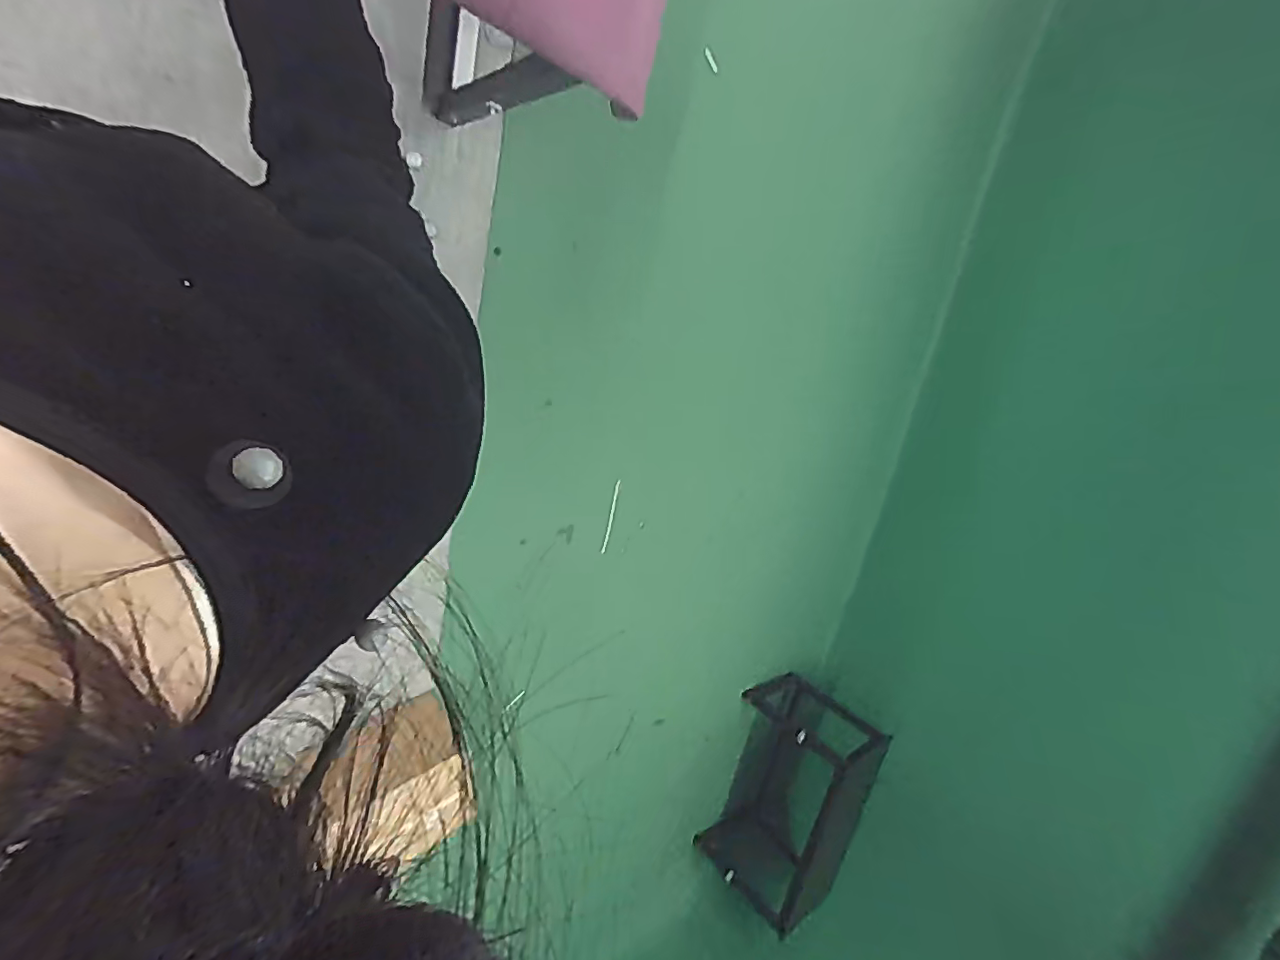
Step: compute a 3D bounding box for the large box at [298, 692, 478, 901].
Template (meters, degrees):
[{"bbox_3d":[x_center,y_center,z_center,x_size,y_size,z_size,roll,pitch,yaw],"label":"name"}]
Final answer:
[{"bbox_3d":[-0.774,0.953,1.683,0.408,0.320,0.320,-19,121,-38],"label":"large box"}]
